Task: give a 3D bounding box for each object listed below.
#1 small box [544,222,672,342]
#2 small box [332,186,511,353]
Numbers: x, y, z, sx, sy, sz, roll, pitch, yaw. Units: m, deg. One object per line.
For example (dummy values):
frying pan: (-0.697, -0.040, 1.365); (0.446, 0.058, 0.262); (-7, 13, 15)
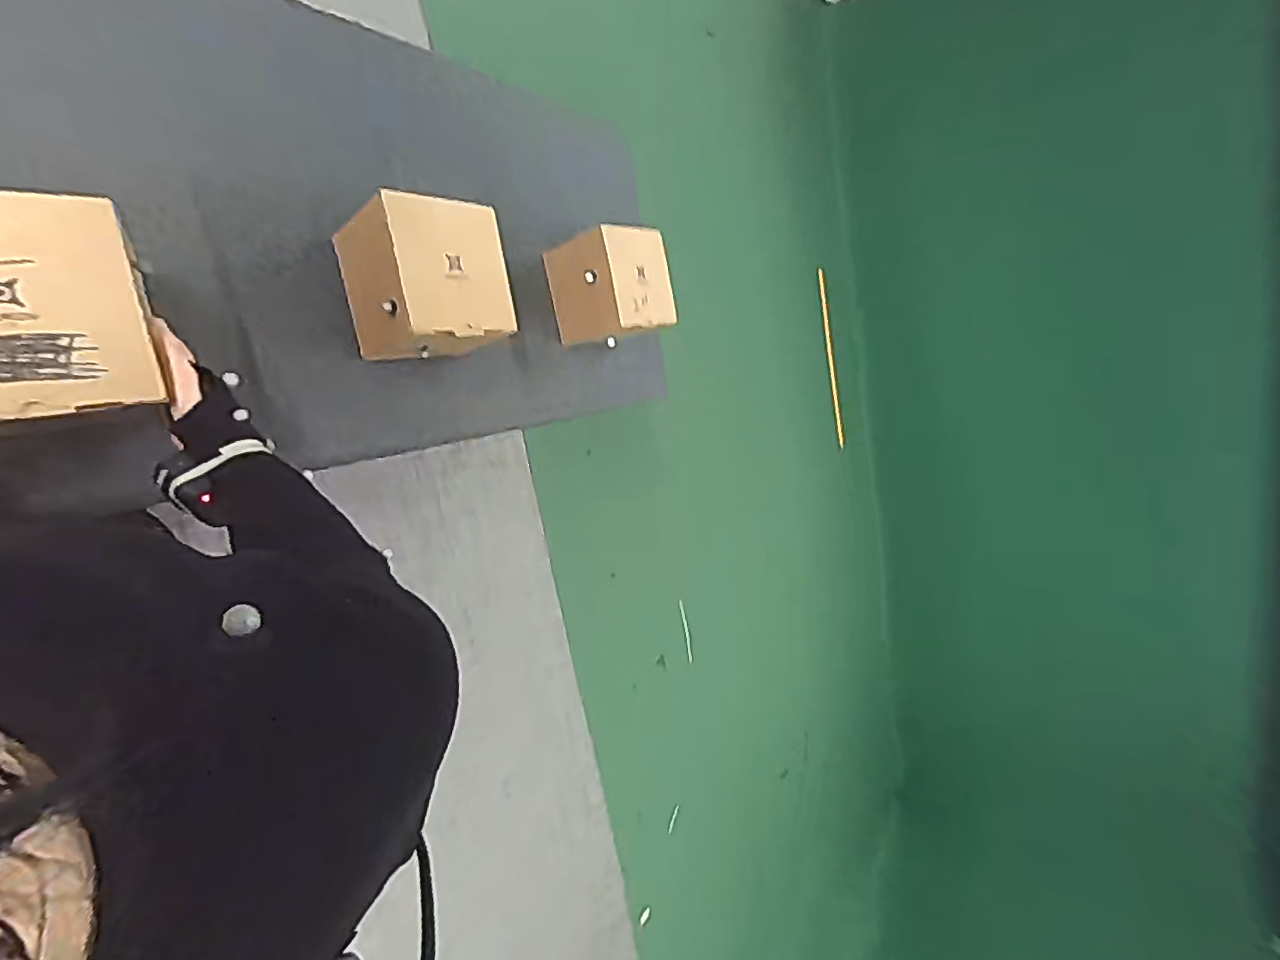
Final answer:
small box: (-0.064, -0.375, 1.047); (0.168, 0.176, 0.179); (-21, 104, -45)
small box: (-0.315, -0.288, 0.777); (0.168, 0.176, 0.179); (-19, 103, -46)
